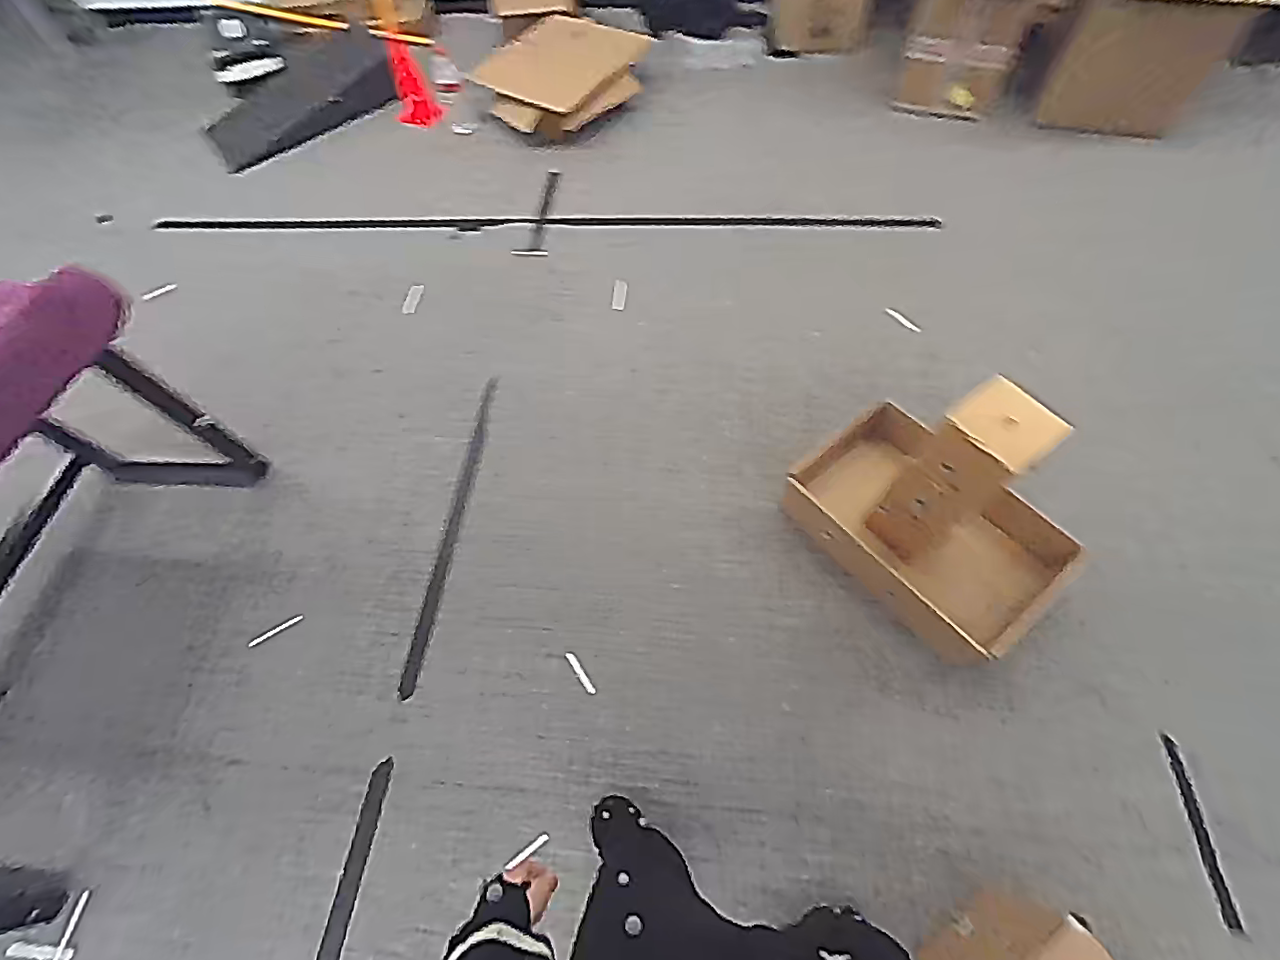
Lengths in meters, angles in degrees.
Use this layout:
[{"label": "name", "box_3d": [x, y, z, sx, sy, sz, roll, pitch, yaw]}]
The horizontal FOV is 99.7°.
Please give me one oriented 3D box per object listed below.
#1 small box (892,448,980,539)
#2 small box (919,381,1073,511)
[{"label": "small box", "box_3d": [0.725, 0.011, 1.273, 0.179, 0.176, 0.168, -32, 65, -13]}, {"label": "small box", "box_3d": [0.728, -0.067, 1.129, 0.179, 0.176, 0.168, -32, 65, -14]}]
